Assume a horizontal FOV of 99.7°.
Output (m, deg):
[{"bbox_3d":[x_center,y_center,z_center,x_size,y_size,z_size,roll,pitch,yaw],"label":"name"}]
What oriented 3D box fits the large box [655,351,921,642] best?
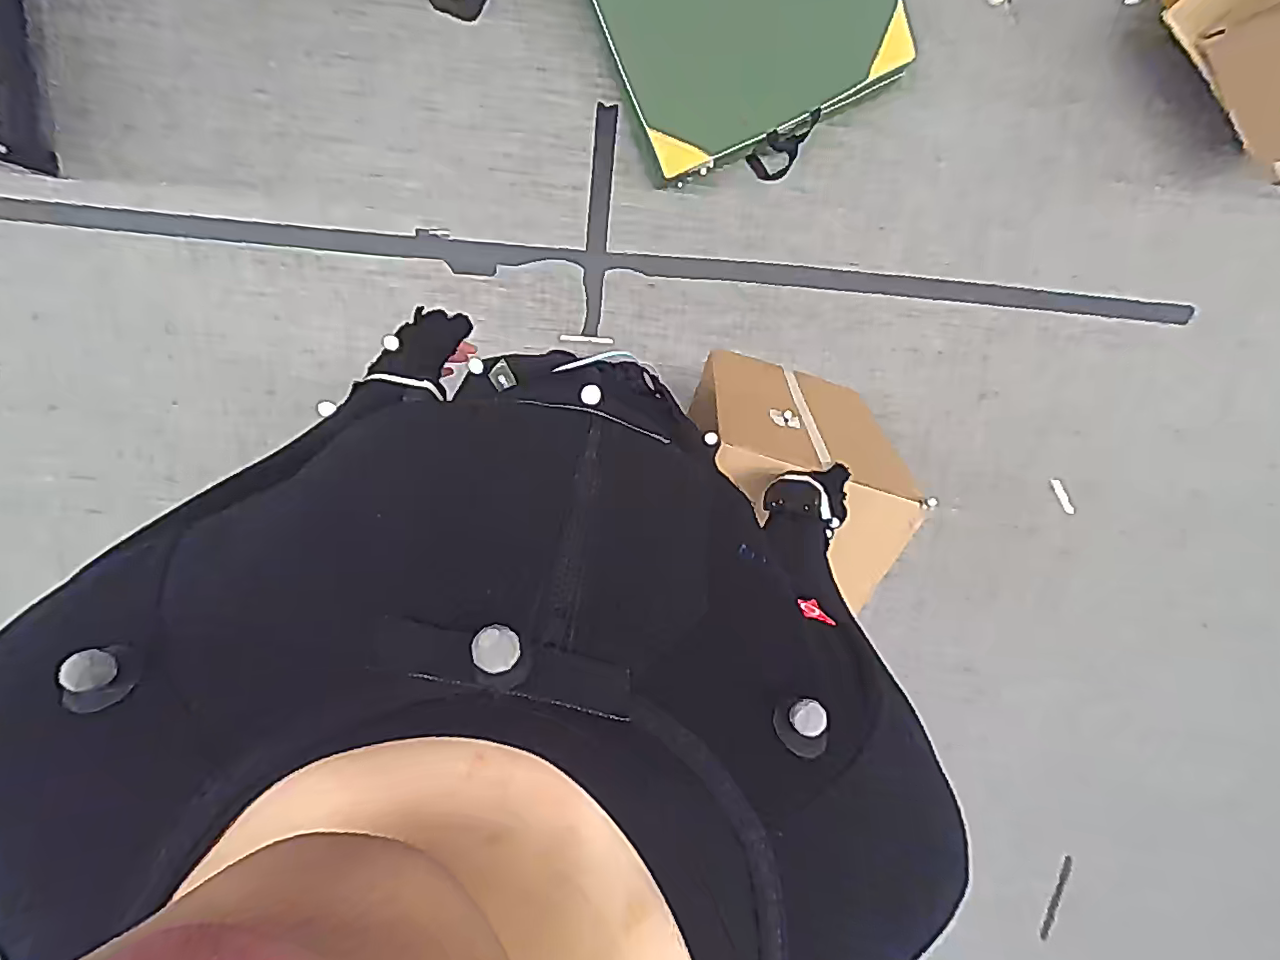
[{"bbox_3d":[0.223,0.013,0.990,0.320,0.408,0.320,15,123,-4],"label":"large box"}]
